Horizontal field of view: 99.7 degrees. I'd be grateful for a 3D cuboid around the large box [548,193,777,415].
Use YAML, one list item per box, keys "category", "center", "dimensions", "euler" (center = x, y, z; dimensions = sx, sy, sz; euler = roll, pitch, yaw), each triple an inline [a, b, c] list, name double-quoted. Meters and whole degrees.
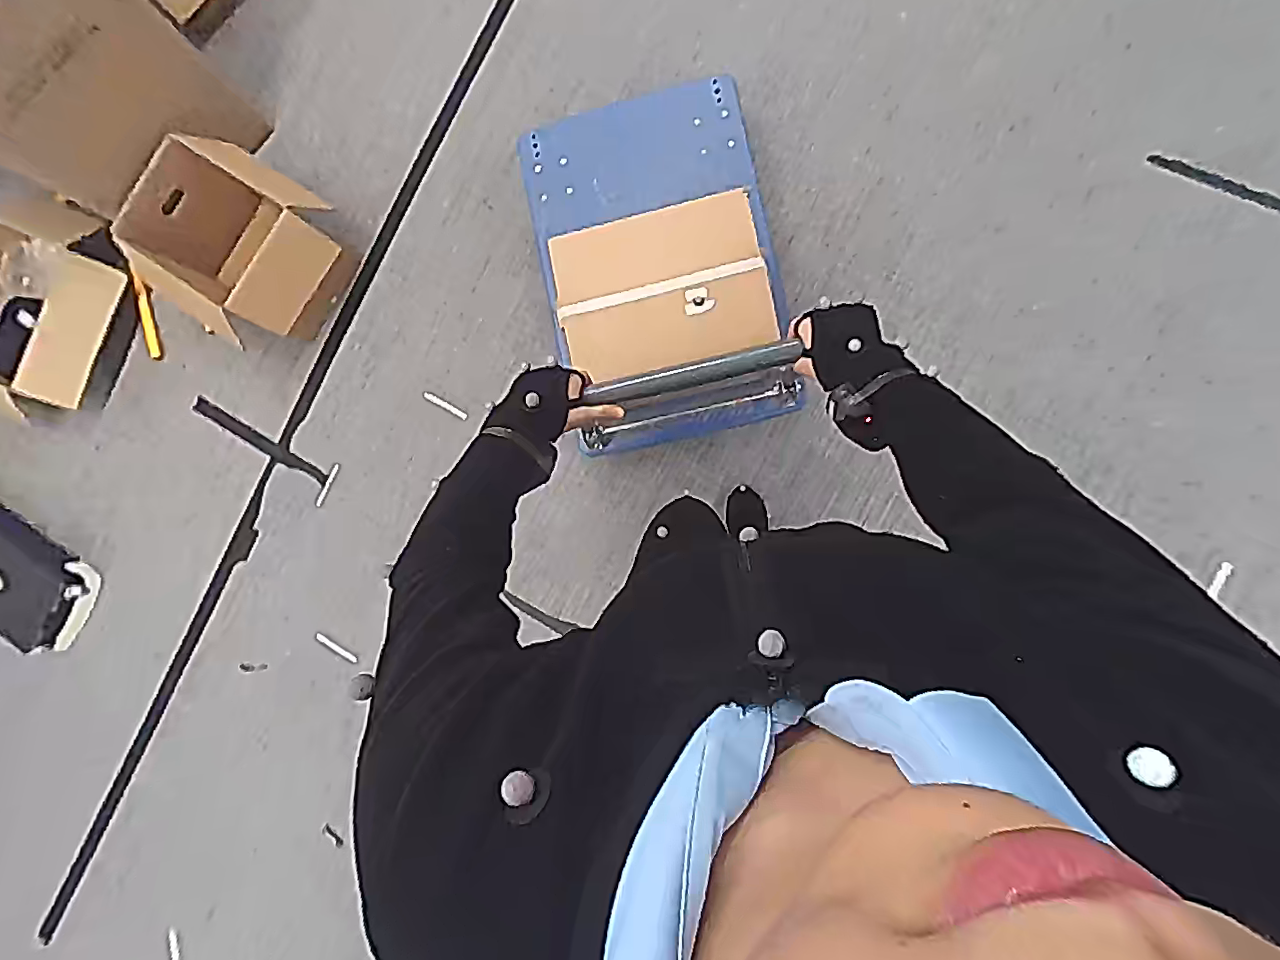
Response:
- category: "large box"
  center: [0.052, -0.357, 1.202]
  dimensions: [0.408, 0.320, 0.320]
  euler: [-12, 87, 5]
